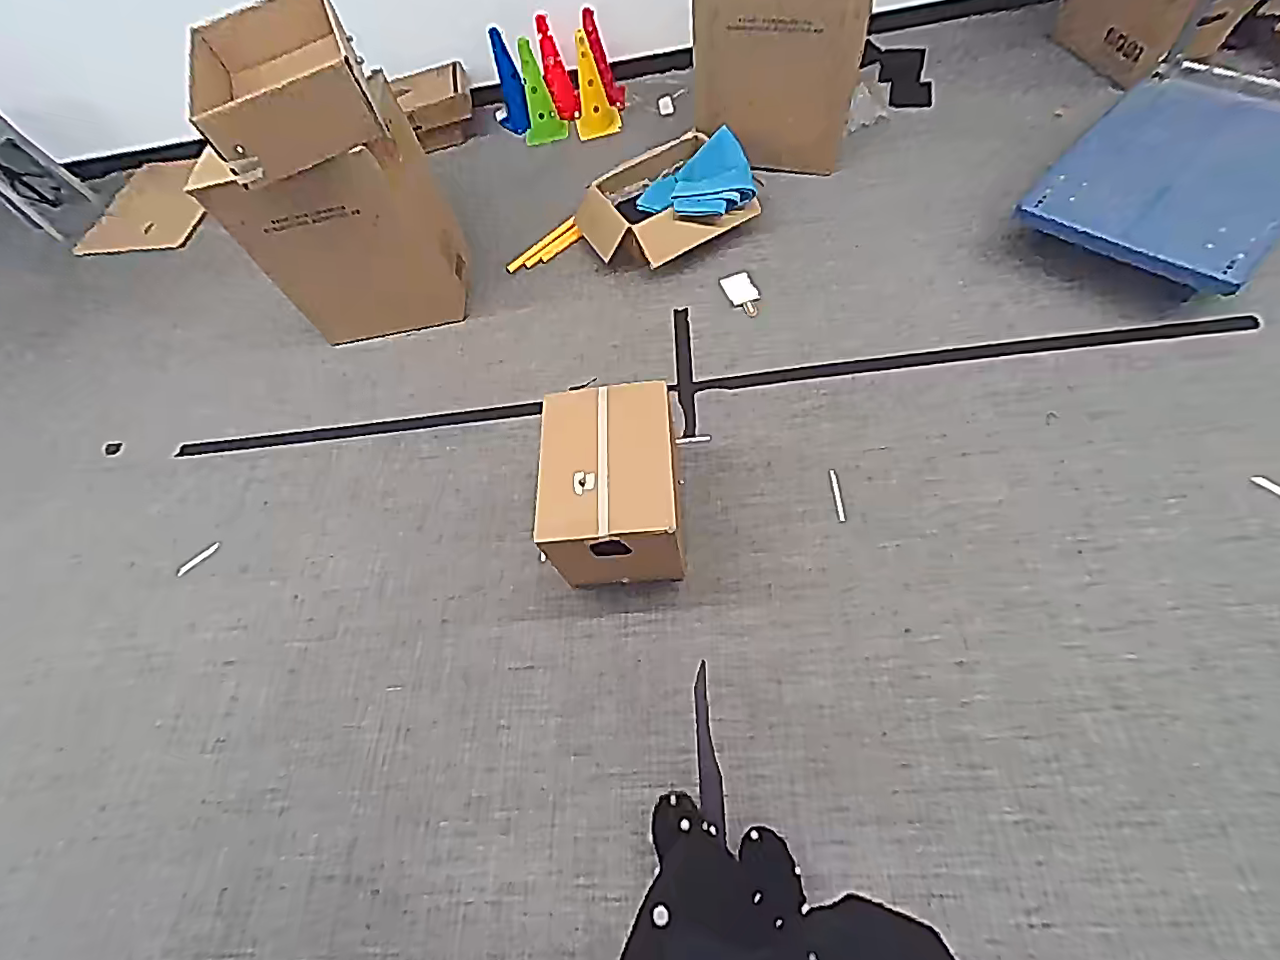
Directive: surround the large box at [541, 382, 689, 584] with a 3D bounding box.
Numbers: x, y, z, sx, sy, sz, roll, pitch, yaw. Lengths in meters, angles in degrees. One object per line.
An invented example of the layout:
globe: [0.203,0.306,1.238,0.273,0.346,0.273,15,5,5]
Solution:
large box: [-0.053,0.017,1.370,0.320,0.320,0.408,-7,62,7]
